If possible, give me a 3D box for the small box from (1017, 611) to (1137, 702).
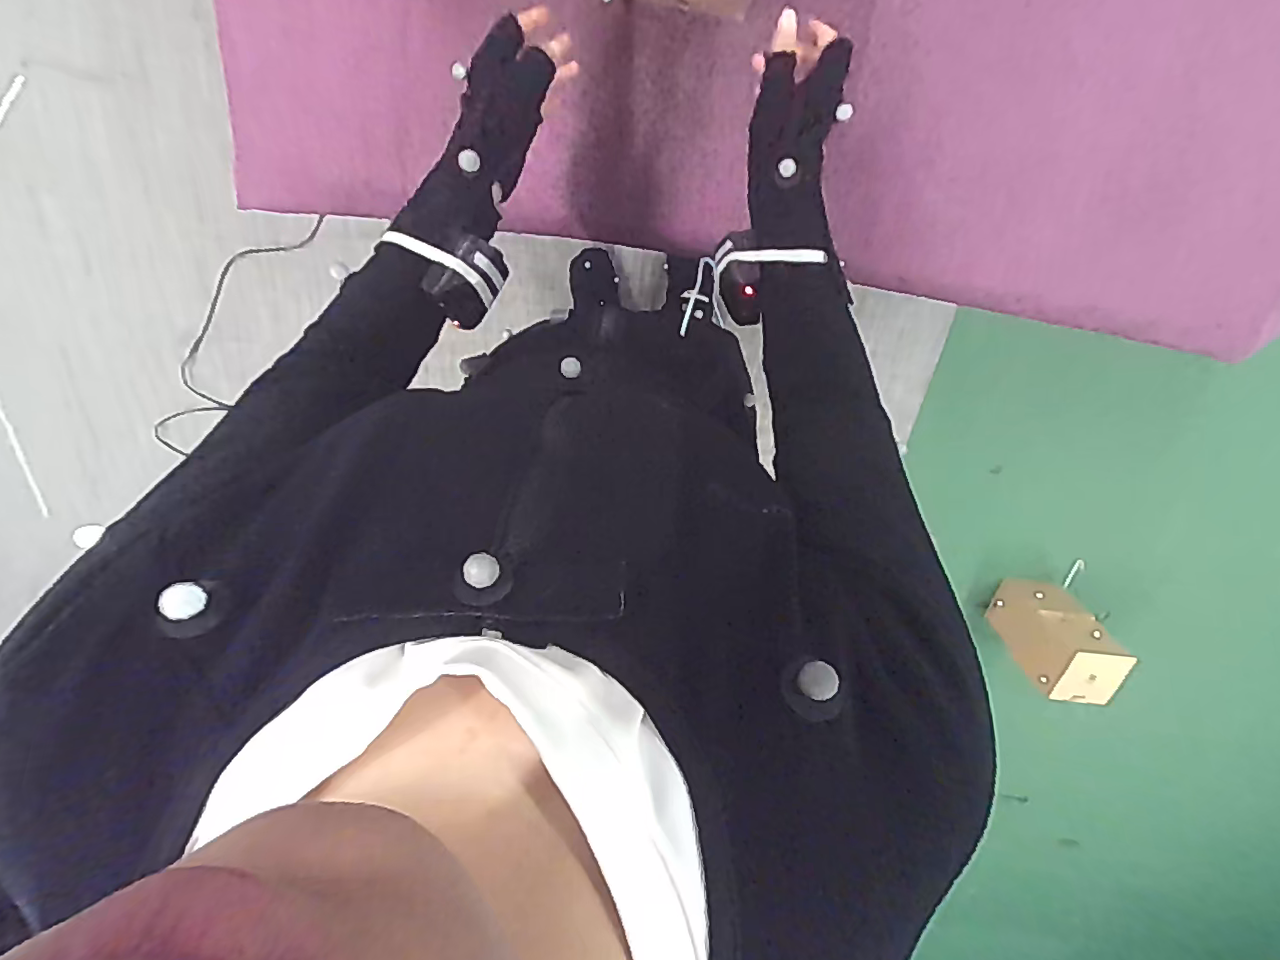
[{"bbox_3d":[1.212,0.491,1.518,0.168,0.176,0.179,7,117,-2],"label":"small box"}]
